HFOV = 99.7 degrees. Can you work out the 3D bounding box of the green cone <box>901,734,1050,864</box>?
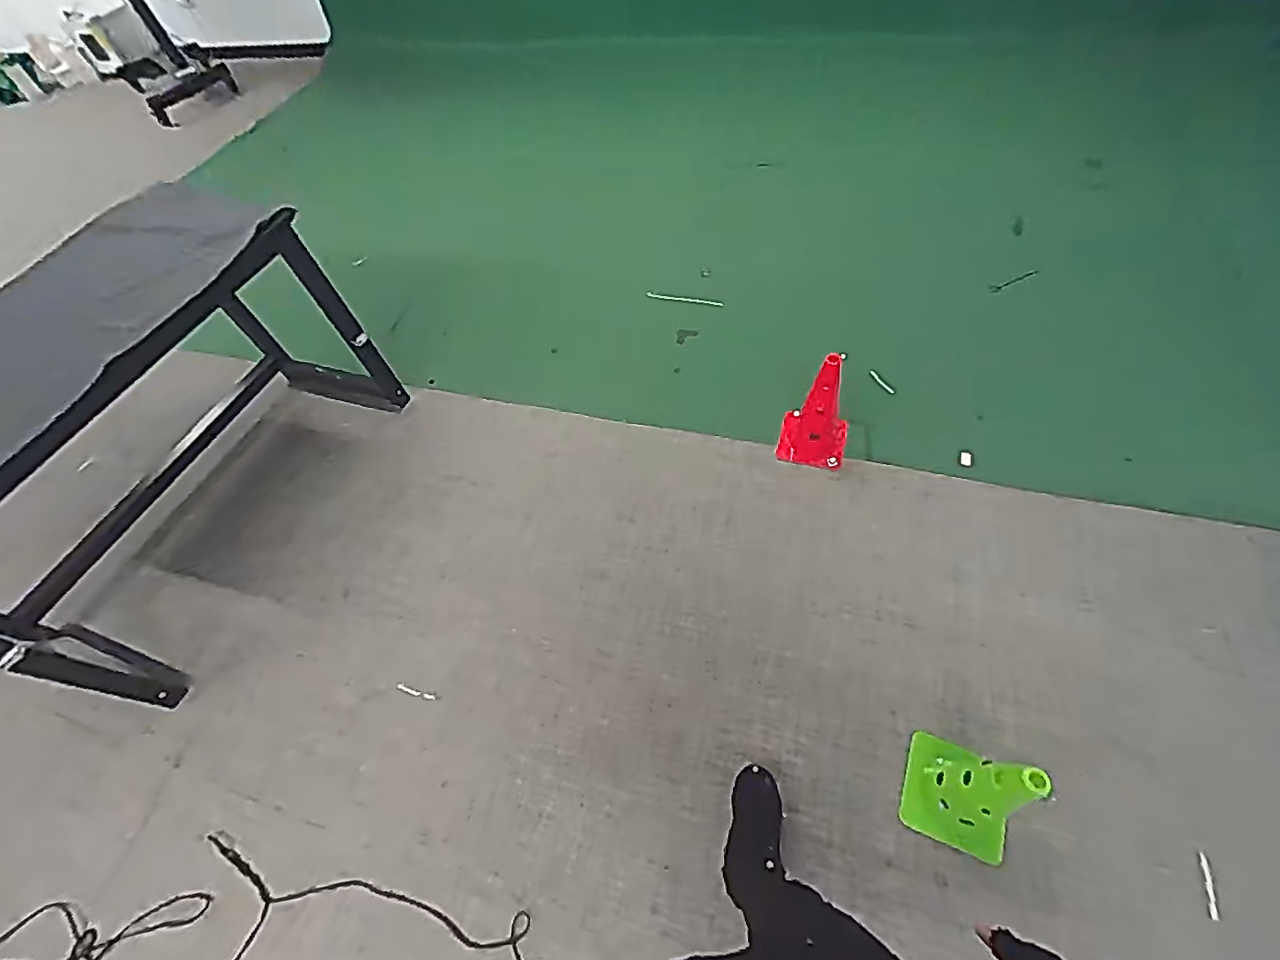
[{"bbox_3d":[0.663,0.587,1.028,0.200,0.368,0.202,16,60,18],"label":"green cone"}]
